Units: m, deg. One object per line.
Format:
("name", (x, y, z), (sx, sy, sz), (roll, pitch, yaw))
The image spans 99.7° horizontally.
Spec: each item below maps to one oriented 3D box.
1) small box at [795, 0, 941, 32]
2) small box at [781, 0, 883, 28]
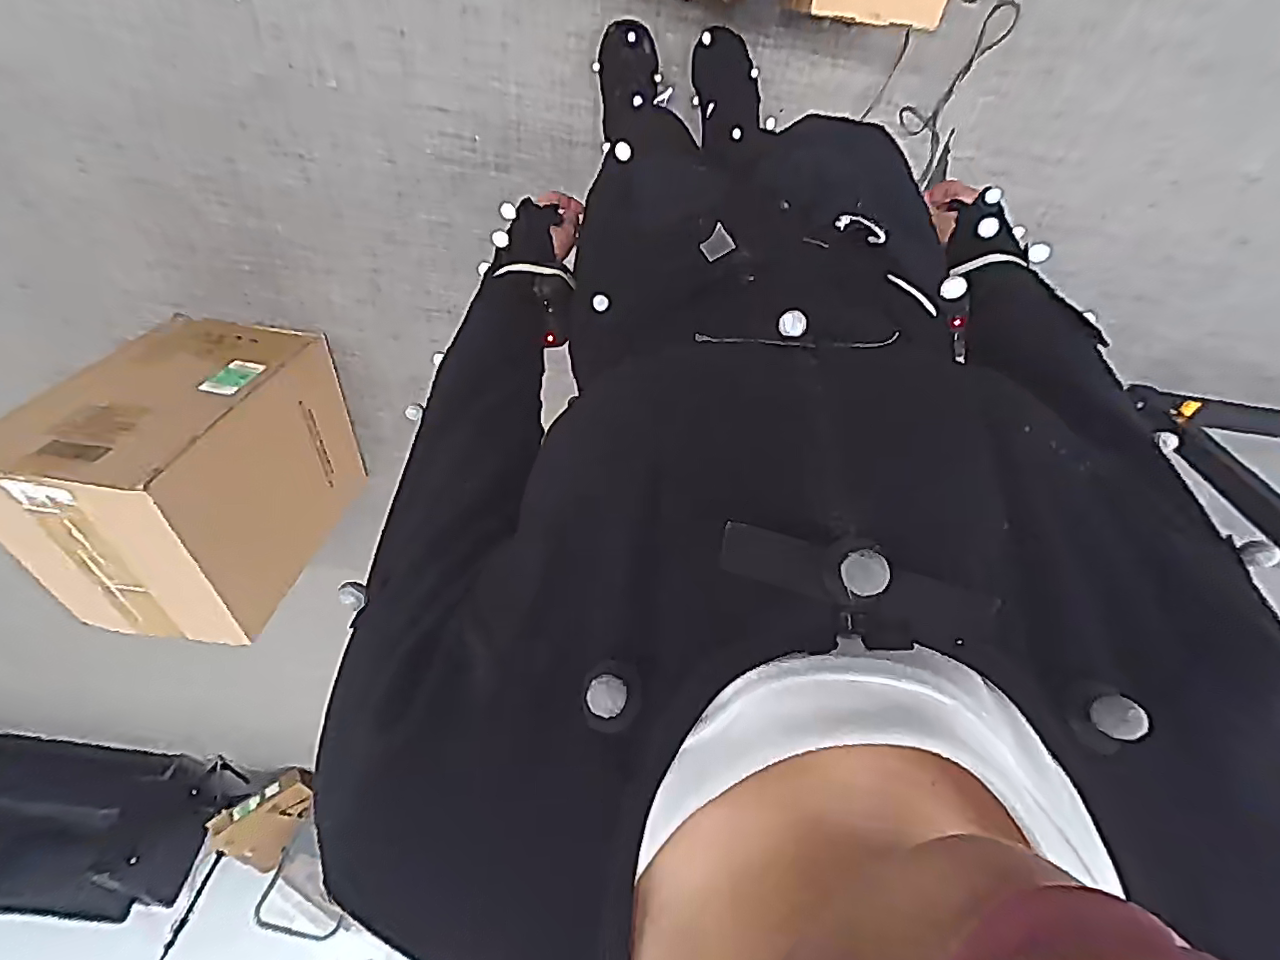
("small box", (0.307, -0.703, 0.694), (0.168, 0.176, 0.179), (8, 132, 0))
("small box", (0.320, -0.813, 0.817), (0.168, 0.176, 0.179), (9, 133, -2))
